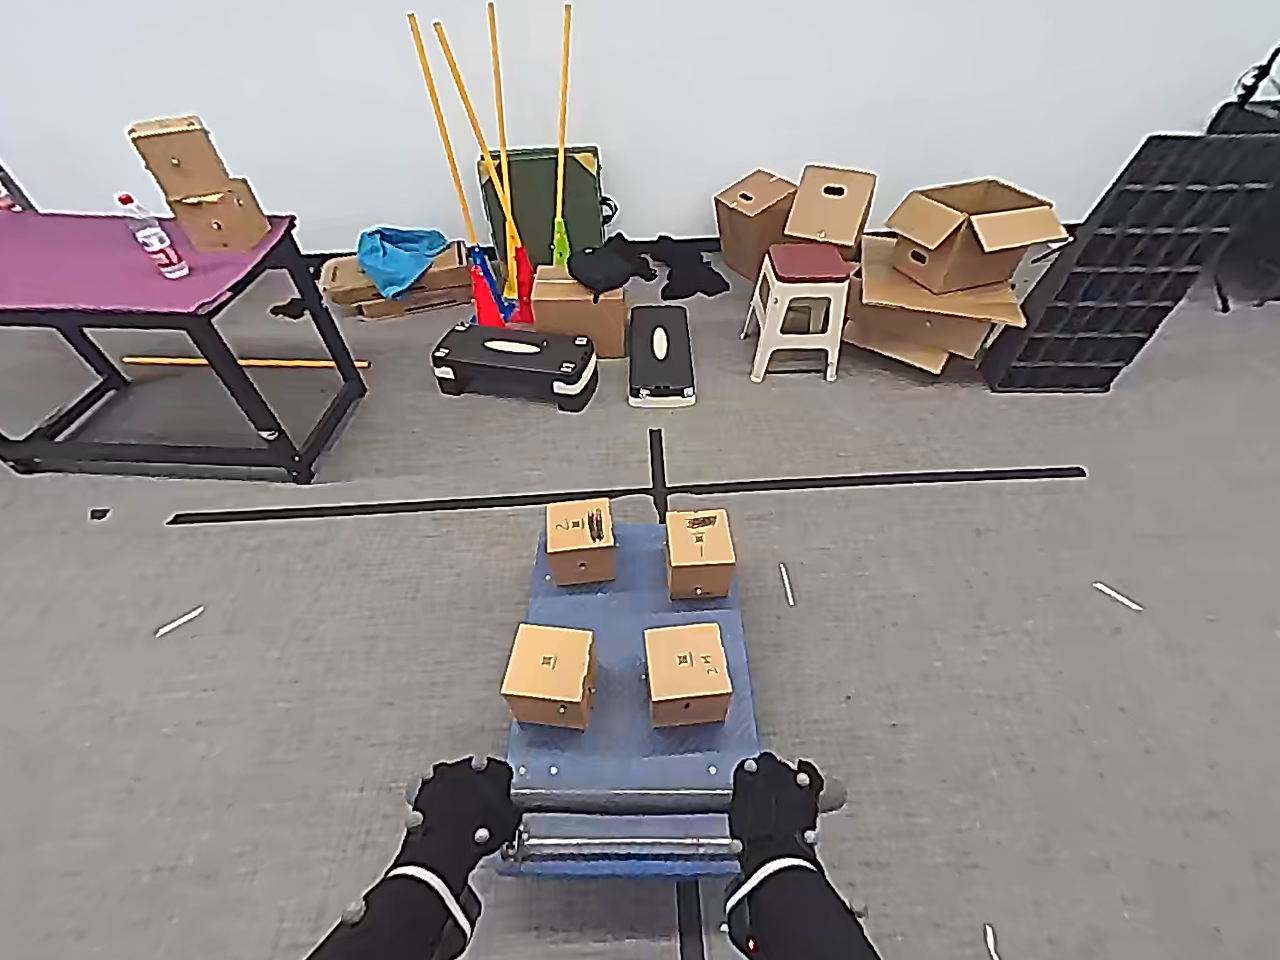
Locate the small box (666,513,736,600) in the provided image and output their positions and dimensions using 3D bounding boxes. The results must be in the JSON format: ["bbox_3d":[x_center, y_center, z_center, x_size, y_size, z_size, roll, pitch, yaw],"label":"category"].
[{"bbox_3d":[0.161,0.210,1.484,0.168,0.176,0.179,-3,49,-1],"label":"small box"}]

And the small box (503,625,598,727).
[{"bbox_3d":[-0.199,0.460,1.262,0.179,0.176,0.168,5,48,4],"label":"small box"}]

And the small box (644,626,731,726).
[{"bbox_3d":[0.105,0.459,1.258,0.179,0.176,0.168,-4,48,-3],"label":"small box"}]
